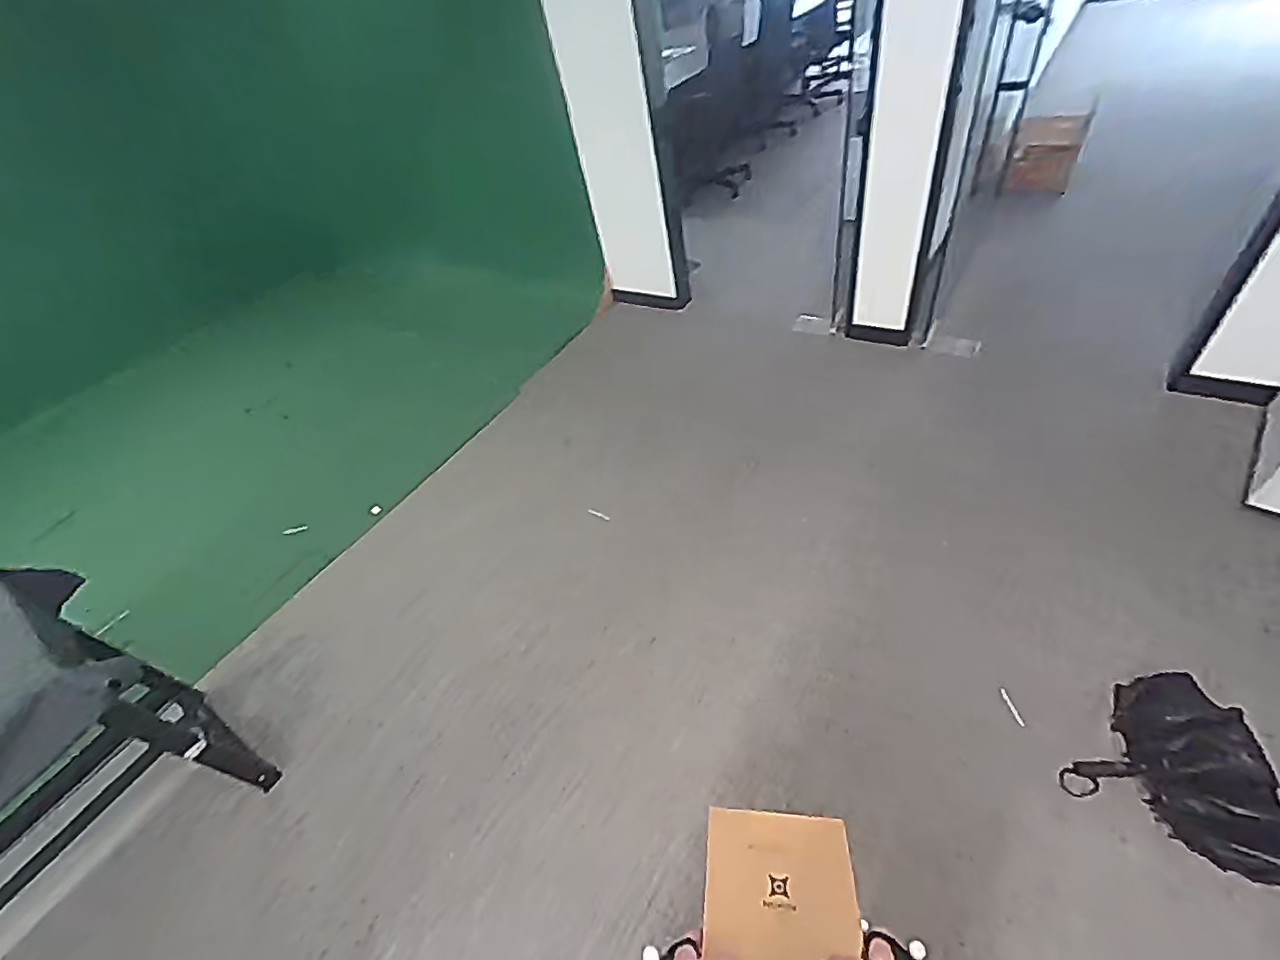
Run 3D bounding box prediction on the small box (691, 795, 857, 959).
[{"bbox_3d":[0.153,0.512,0.635,0.168,0.176,0.179,-1,27,10],"label":"small box"}]
